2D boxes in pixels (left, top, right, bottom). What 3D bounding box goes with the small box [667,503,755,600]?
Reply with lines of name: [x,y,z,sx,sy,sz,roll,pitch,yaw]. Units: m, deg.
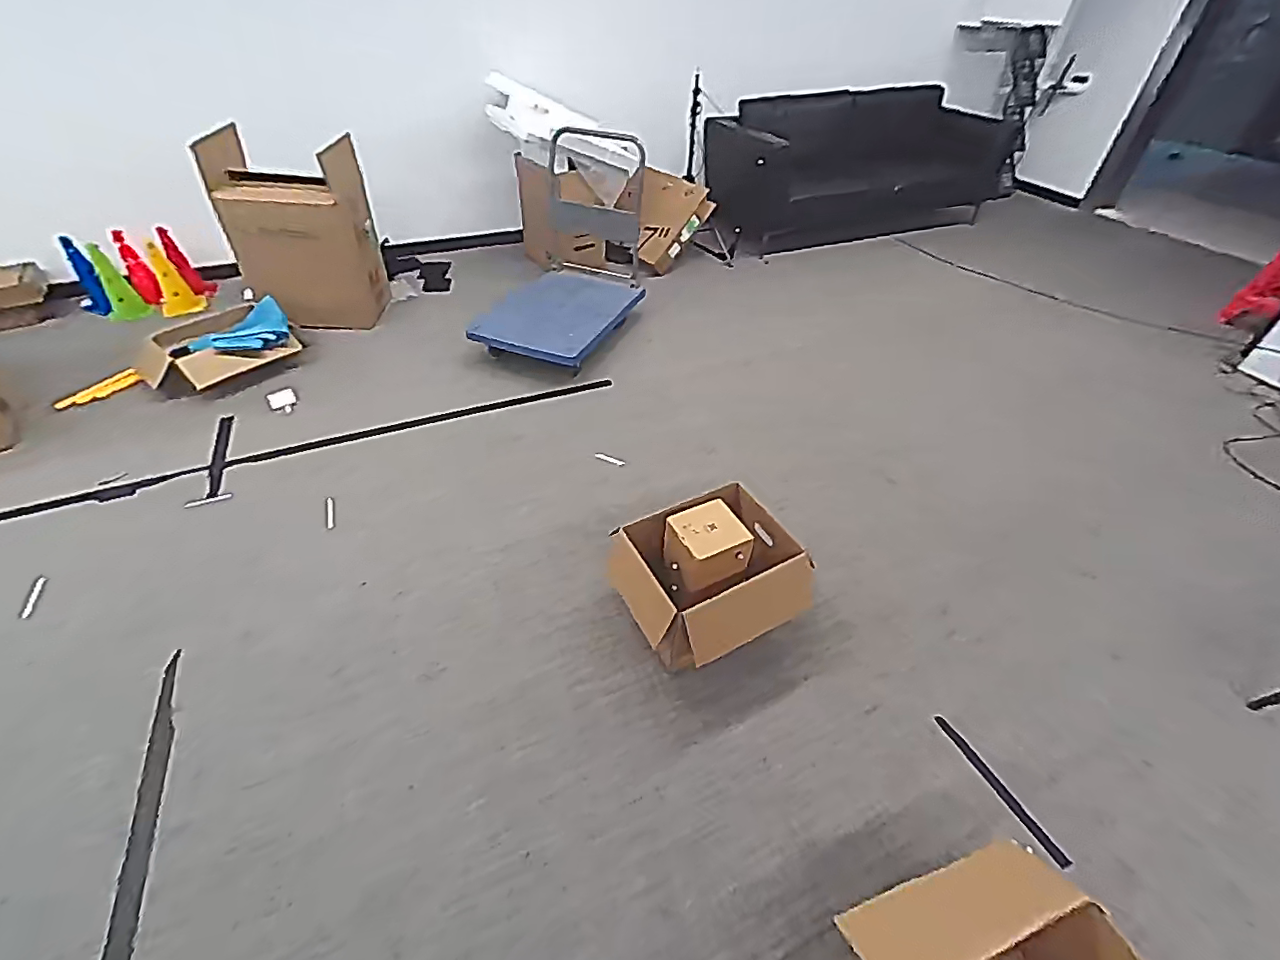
small box: [0.186,0.195,1.481,0.179,0.176,0.168,-19,46,-20]
